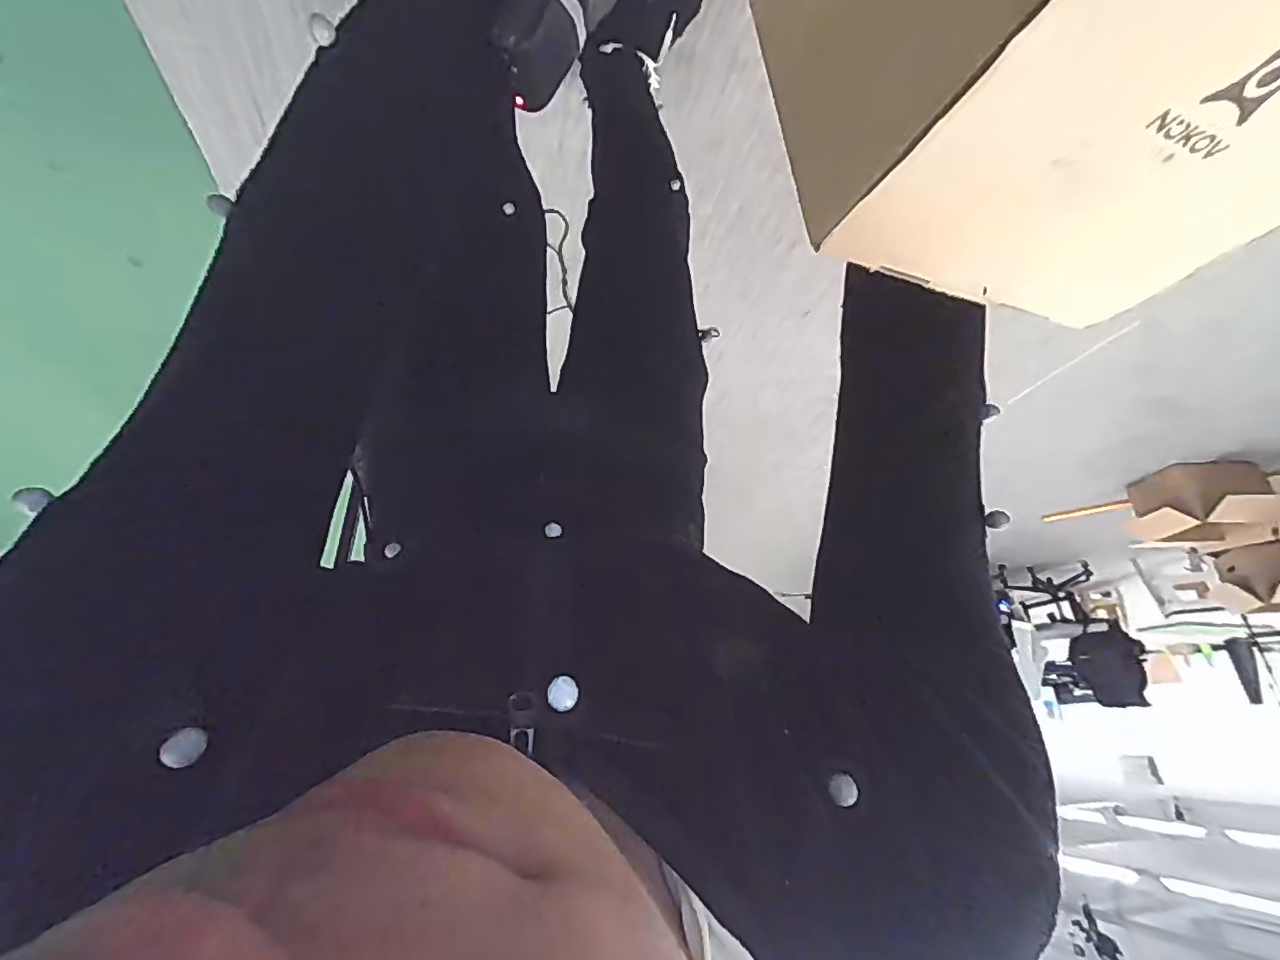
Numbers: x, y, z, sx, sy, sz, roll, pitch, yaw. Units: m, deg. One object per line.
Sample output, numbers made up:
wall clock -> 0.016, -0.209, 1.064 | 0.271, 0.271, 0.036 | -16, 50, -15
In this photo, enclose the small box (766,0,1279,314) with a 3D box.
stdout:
small box -> 0.159, -0.191, 0.184 | 0.168, 0.176, 0.179 | 4, 158, -22
